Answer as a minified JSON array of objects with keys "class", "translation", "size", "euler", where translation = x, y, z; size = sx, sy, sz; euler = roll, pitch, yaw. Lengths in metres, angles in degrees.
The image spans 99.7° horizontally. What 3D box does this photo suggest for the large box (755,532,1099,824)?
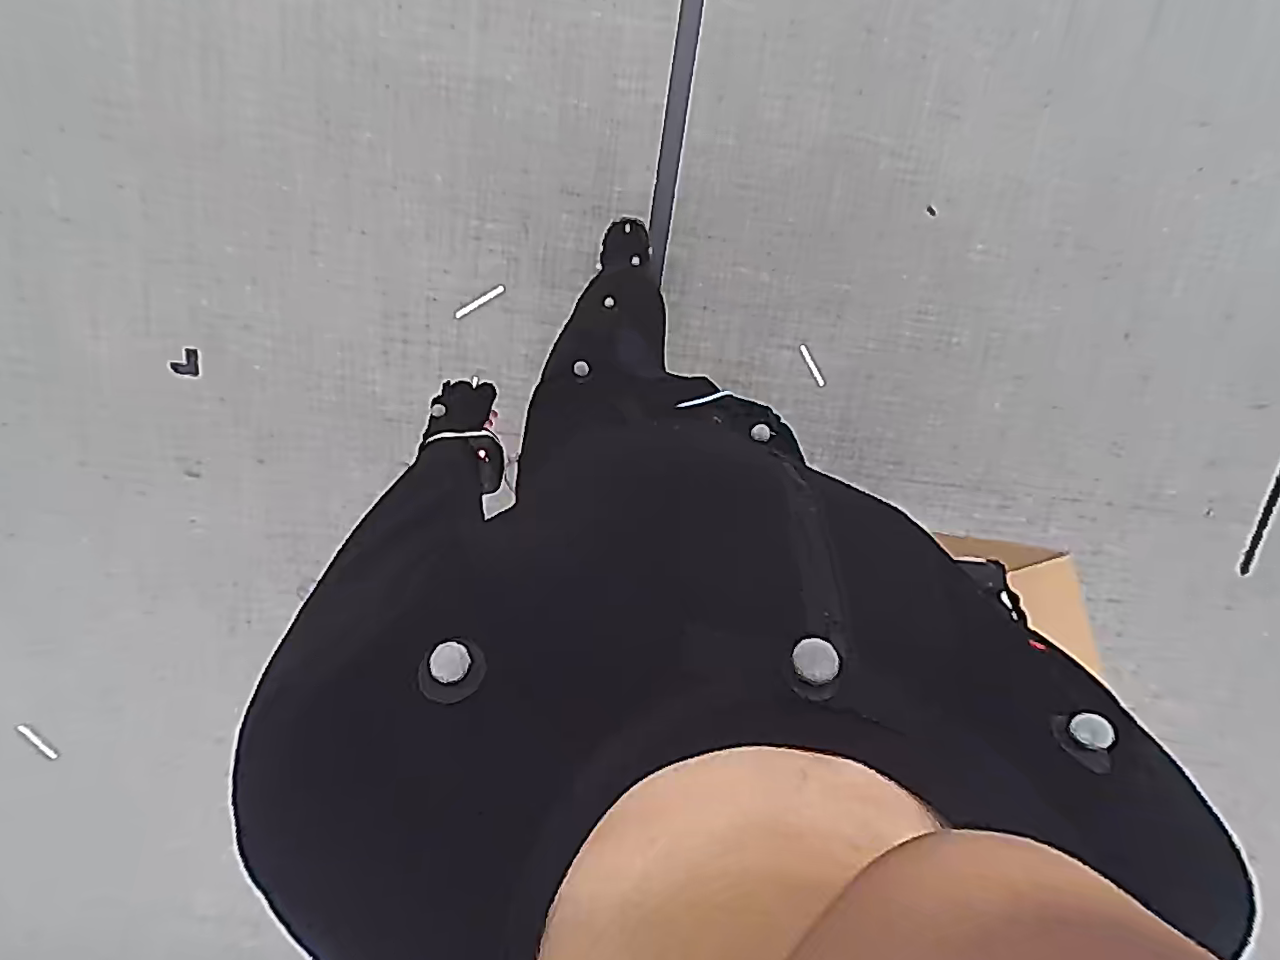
[{"class":"large box","translation":[0.438,0.287,0.925],"size":[0.320,0.408,0.320],"euler":[-14,89,-4]}]
